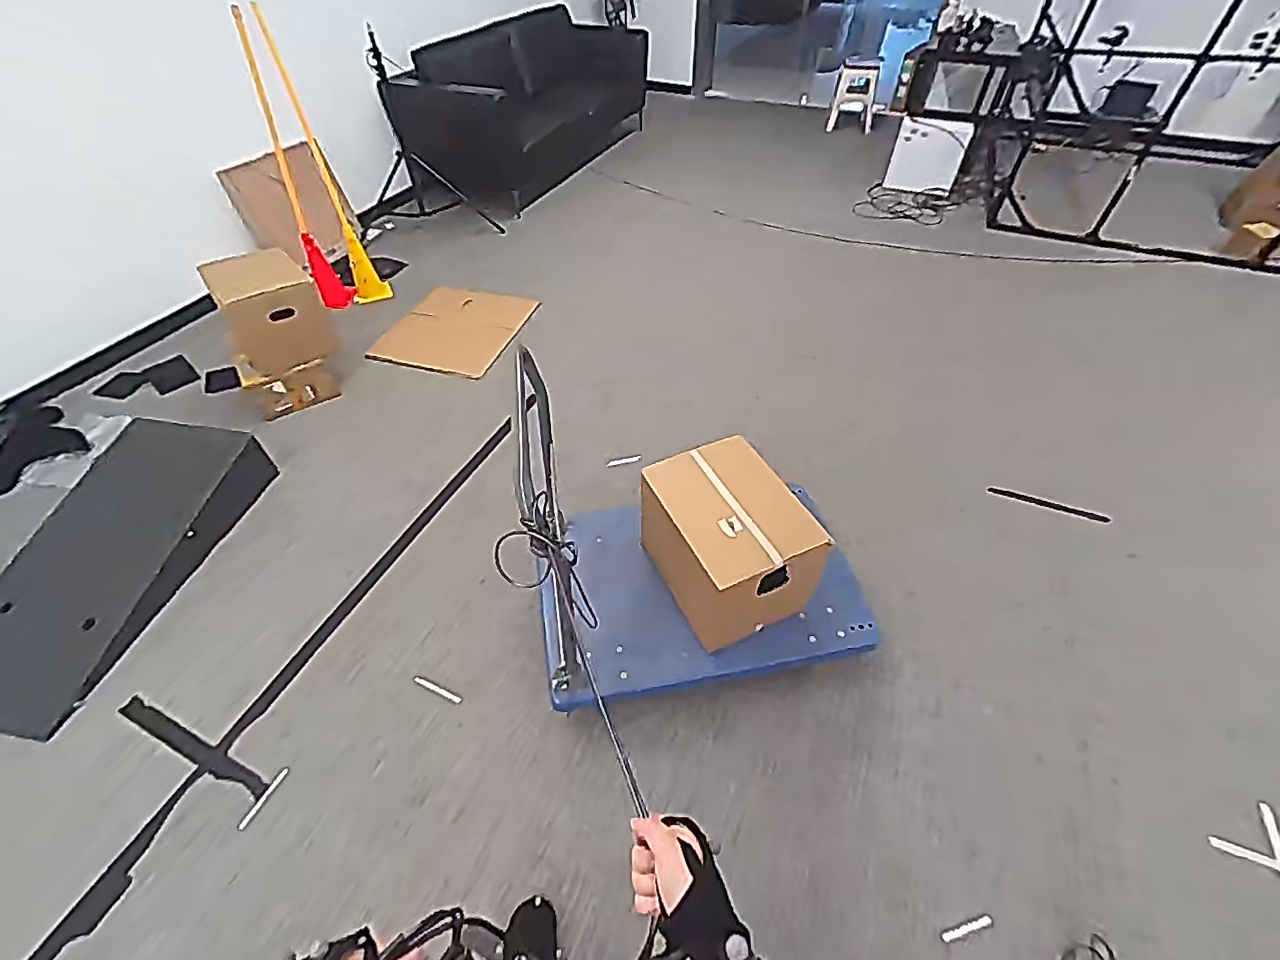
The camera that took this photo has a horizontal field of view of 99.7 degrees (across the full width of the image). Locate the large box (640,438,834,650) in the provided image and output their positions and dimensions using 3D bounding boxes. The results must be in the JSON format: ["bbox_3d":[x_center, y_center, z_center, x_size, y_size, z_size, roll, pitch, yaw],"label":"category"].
[{"bbox_3d":[0.222,0.160,1.427,0.320,0.320,0.408,-20,52,-16],"label":"large box"}]
